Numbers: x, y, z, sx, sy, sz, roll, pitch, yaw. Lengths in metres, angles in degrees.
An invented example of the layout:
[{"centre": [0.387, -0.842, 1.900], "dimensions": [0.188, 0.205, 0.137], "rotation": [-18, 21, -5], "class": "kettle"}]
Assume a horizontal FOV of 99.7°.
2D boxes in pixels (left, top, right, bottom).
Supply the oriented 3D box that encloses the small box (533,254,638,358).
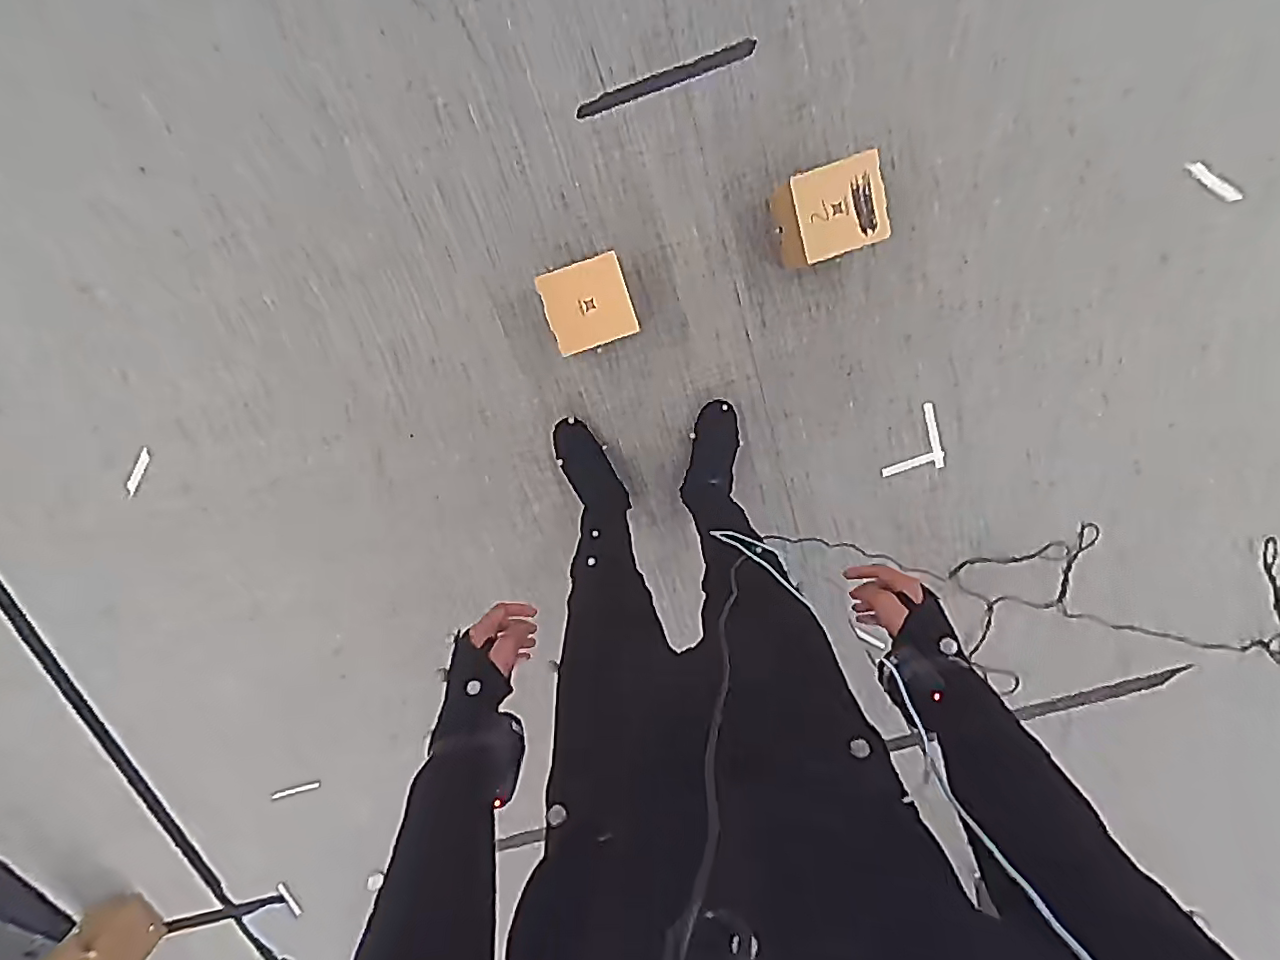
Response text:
[{"centre": [-0.113, -0.376, 1.175], "dimensions": [0.179, 0.176, 0.168], "rotation": [-18, 107, 5], "class": "small box"}]
